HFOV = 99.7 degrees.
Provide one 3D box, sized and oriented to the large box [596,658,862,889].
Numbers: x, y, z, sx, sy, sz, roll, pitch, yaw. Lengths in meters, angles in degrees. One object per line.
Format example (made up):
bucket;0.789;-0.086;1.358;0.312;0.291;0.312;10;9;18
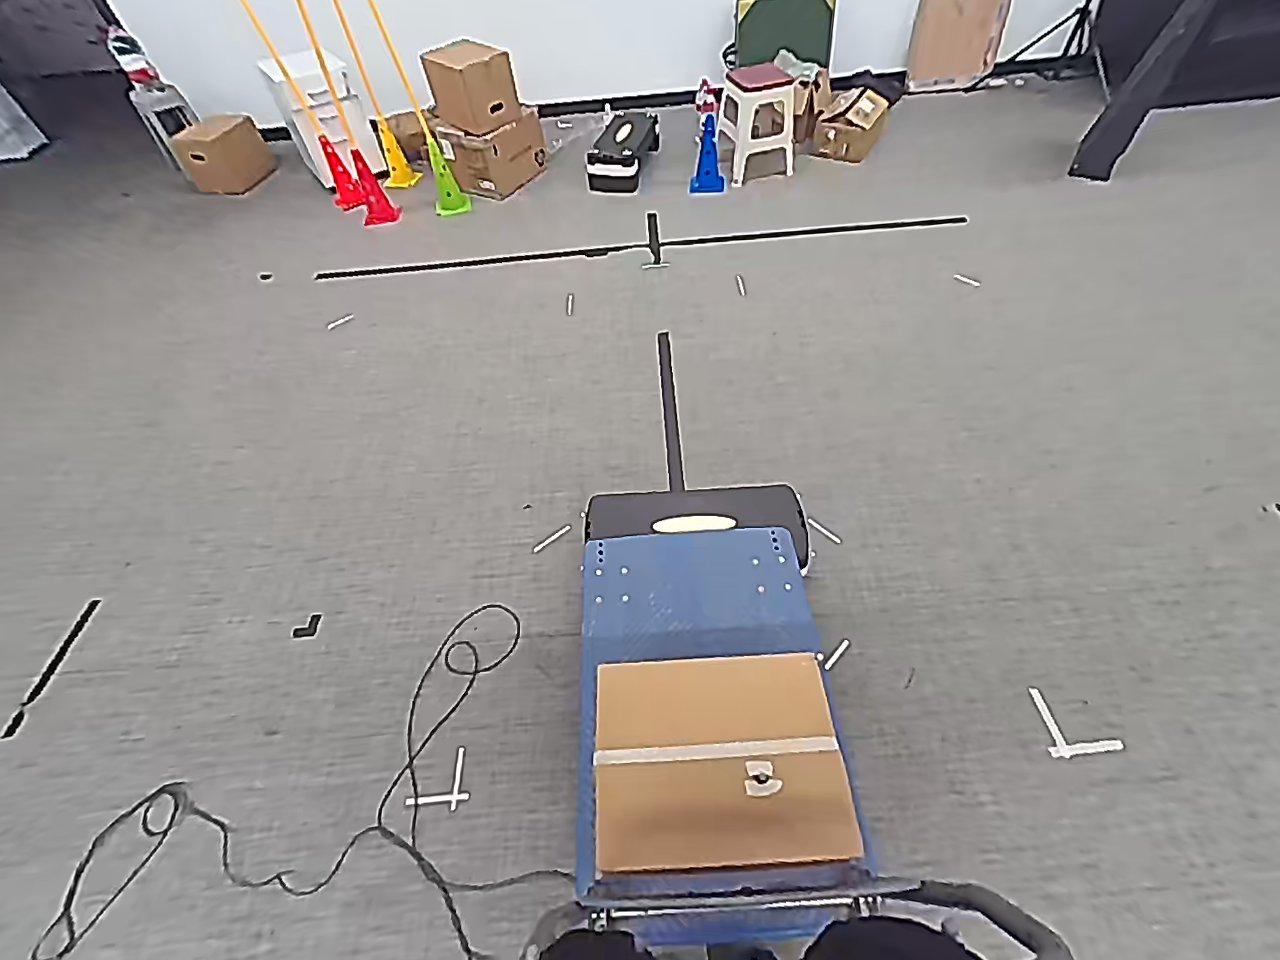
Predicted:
large box;0.131;0.552;1.010;0.408;0.320;0.320;-4;52;0
